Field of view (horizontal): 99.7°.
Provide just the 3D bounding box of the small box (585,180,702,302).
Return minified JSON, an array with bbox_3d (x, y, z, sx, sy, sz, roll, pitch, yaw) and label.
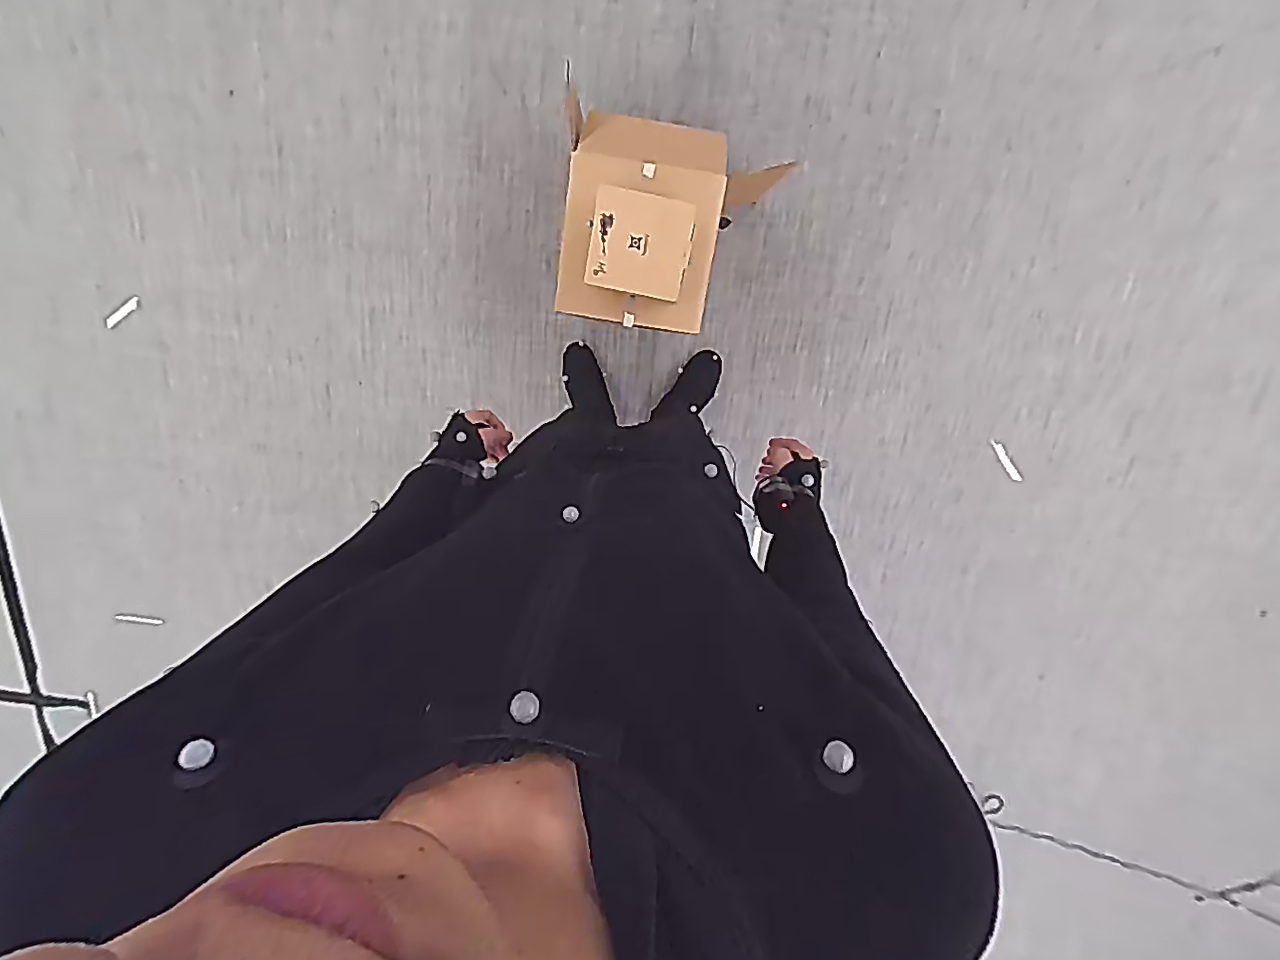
[{"bbox_3d":[0.005,-0.438,1.013,0.179,0.176,0.168,12,108,-3],"label":"small box"}]
